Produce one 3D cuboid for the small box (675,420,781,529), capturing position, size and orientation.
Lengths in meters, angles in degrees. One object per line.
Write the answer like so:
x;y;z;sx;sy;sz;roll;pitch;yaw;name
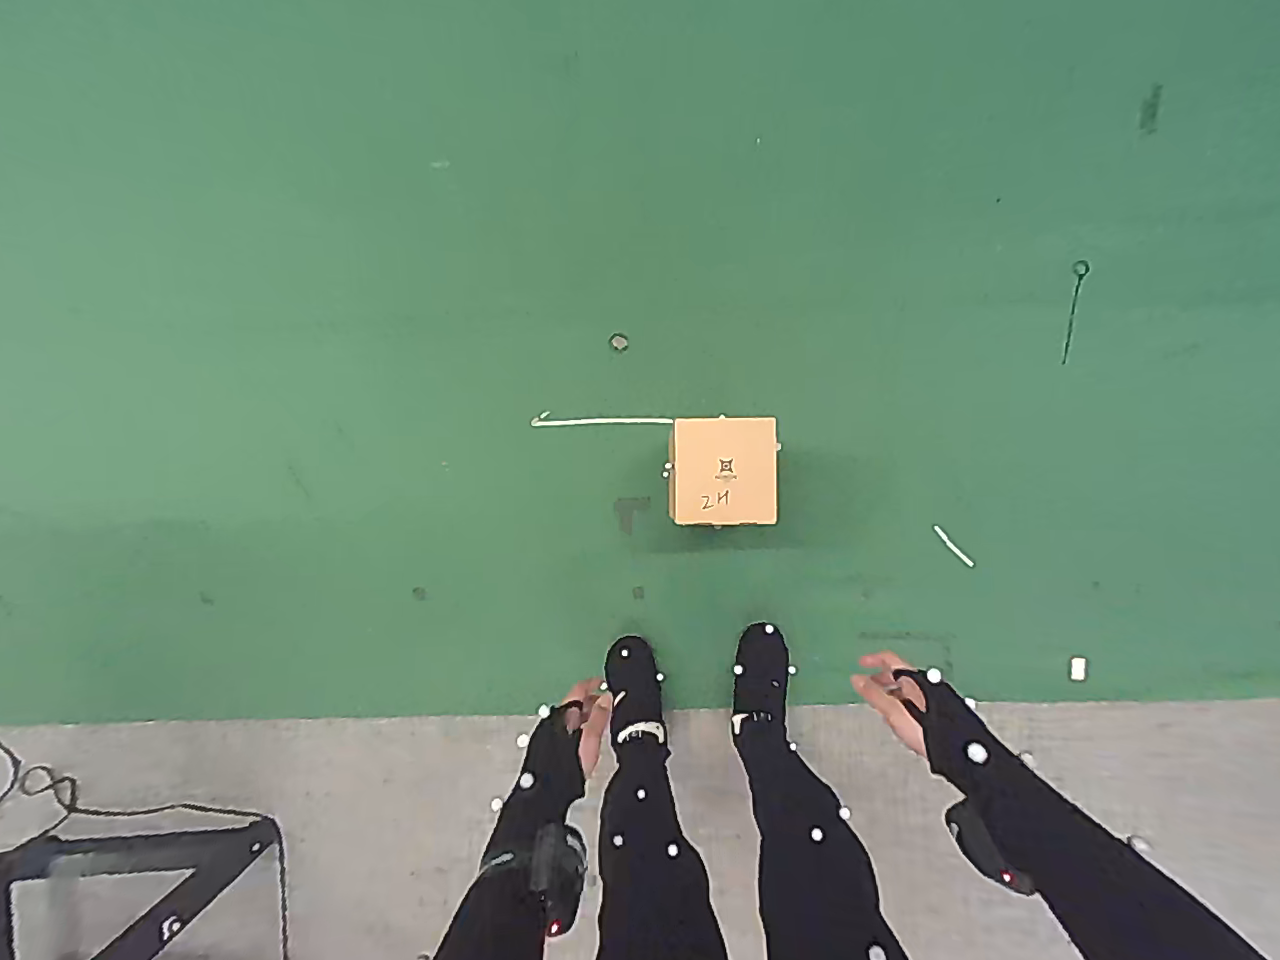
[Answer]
0.147;-0.007;0.950;0.168;0.176;0.179;0;89;2;small box
